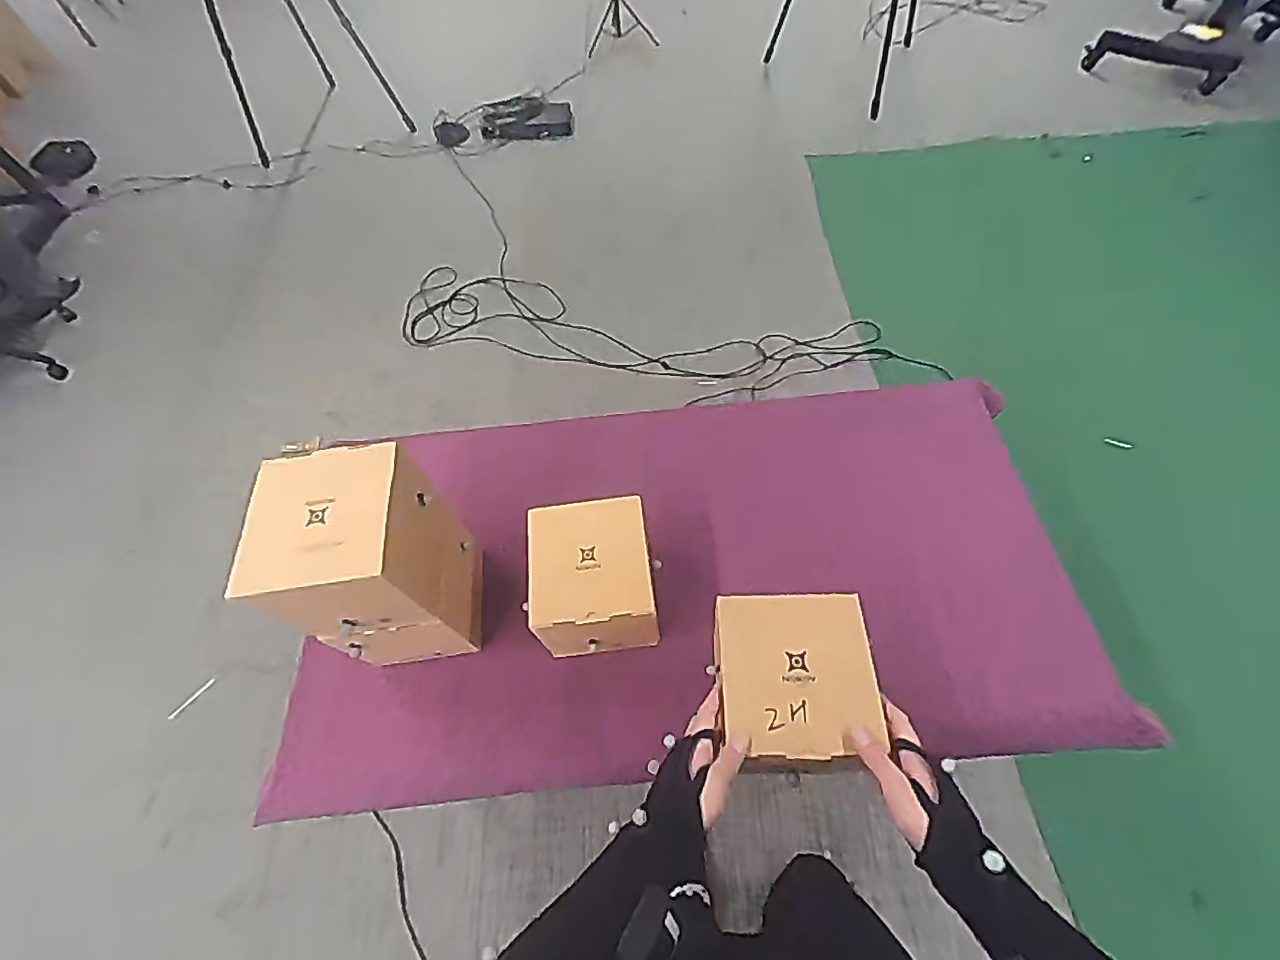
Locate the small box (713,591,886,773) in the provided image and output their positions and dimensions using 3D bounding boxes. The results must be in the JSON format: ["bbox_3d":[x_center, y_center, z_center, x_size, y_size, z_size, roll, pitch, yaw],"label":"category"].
[{"bbox_3d":[0.177,0.250,0.664,0.168,0.176,0.179,-1,57,5],"label":"small box"}]

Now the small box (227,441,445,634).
[{"bbox_3d":[-0.354,0.076,0.673,0.168,0.176,0.179,-7,60,-1],"label":"small box"}]

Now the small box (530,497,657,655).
[{"bbox_3d":[-0.066,0.148,0.808,0.168,0.176,0.179,-7,60,0],"label":"small box"}]
